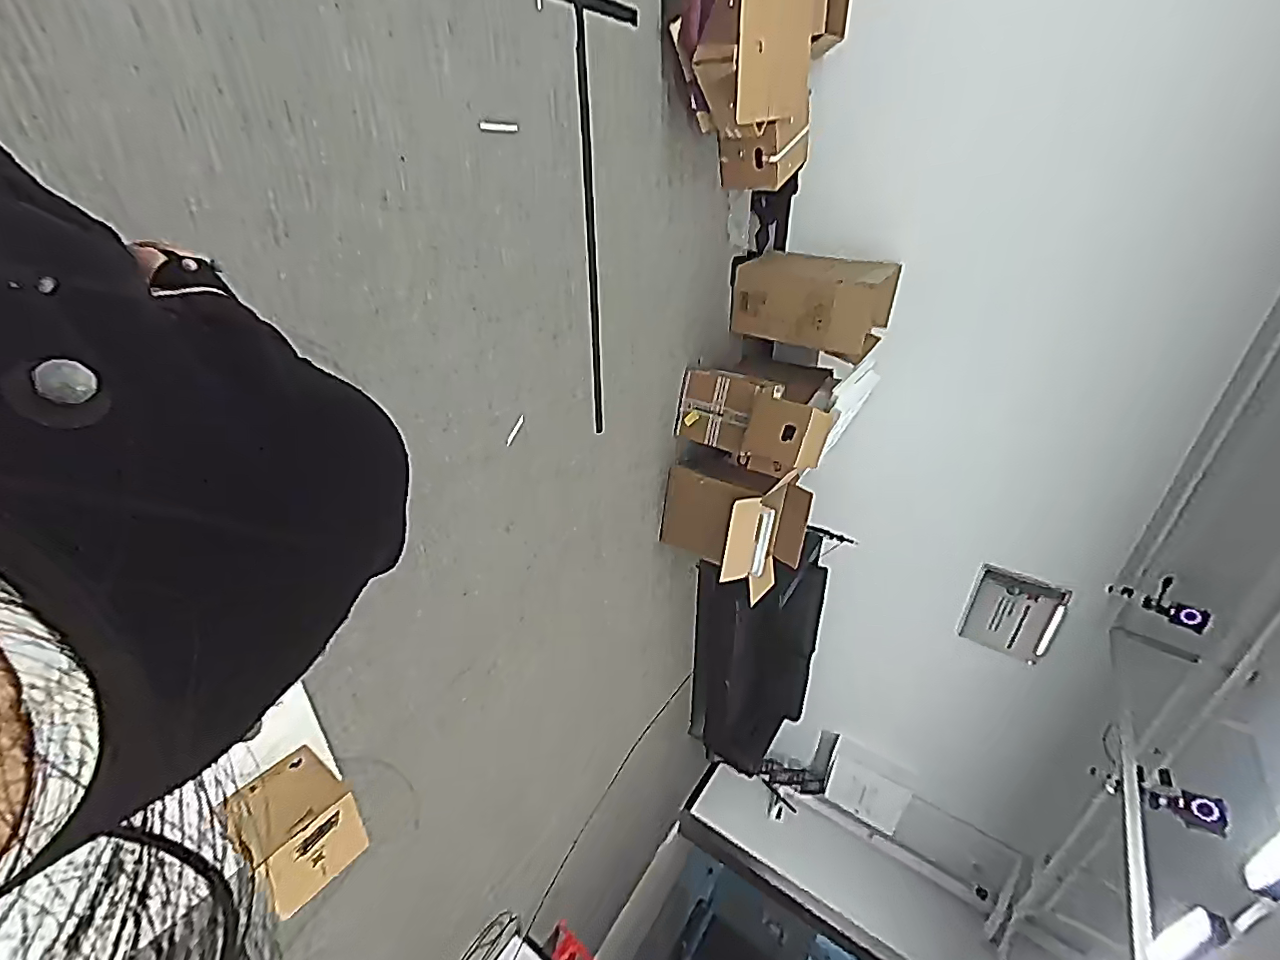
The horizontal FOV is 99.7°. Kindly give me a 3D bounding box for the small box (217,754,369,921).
[{"bbox_3d":[-0.646,0.652,1.011,0.168,0.176,0.179,-32,133,-47],"label":"small box"}]
